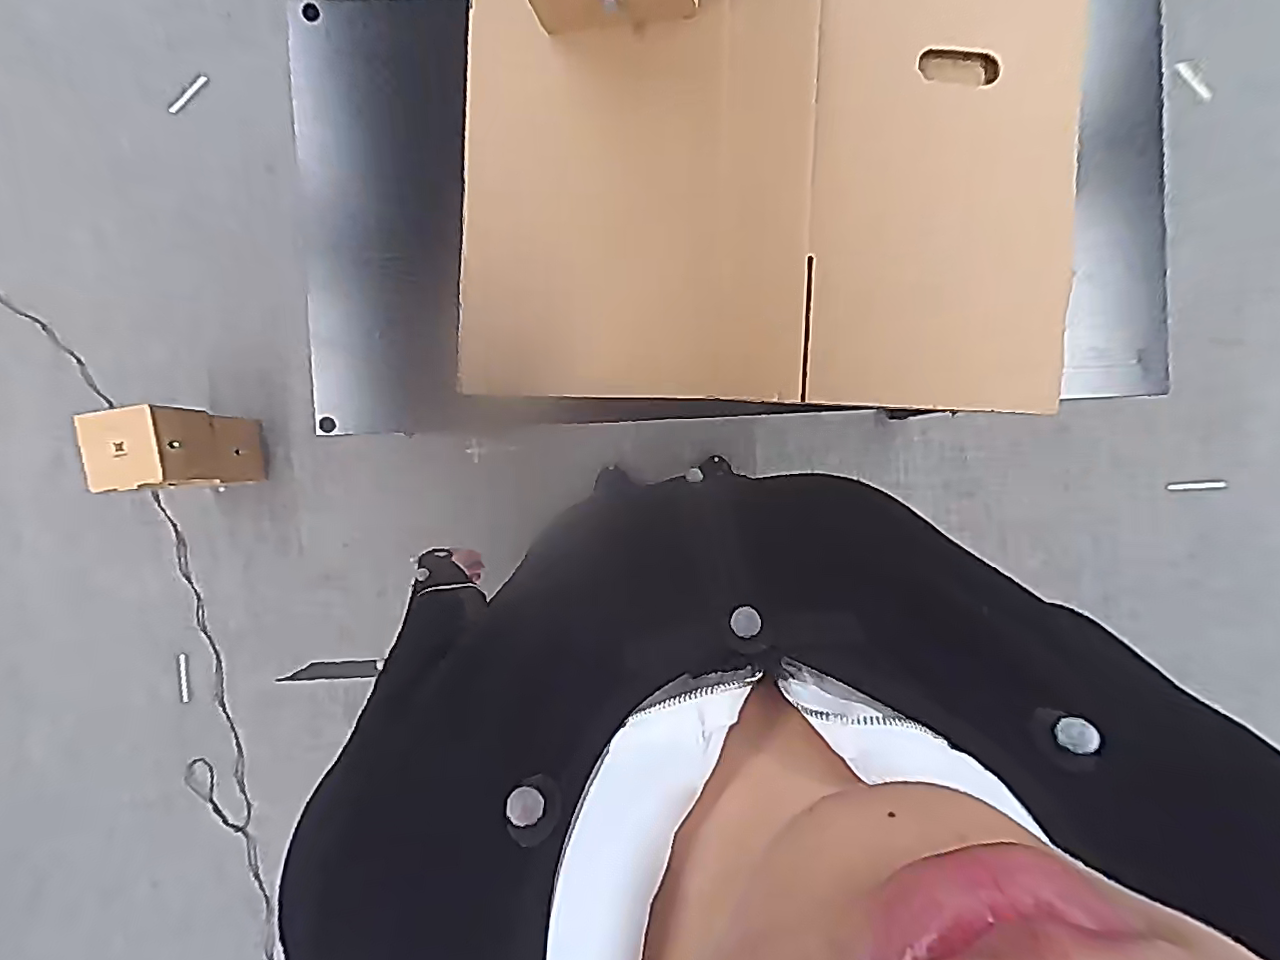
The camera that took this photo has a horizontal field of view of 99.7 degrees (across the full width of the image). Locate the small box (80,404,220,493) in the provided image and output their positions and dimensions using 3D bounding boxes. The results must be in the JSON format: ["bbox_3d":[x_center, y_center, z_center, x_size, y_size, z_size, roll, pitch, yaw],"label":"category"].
[{"bbox_3d":[-1.128,-0.072,1.261,0.168,0.176,0.179,-10,91,0],"label":"small box"}]

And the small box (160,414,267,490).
[{"bbox_3d":[-1.126,-0.071,1.424,0.168,0.176,0.179,-7,93,1],"label":"small box"}]

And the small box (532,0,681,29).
[{"bbox_3d":[-0.036,-0.581,0.514,0.179,0.176,0.168,4,92,13],"label":"small box"}]
